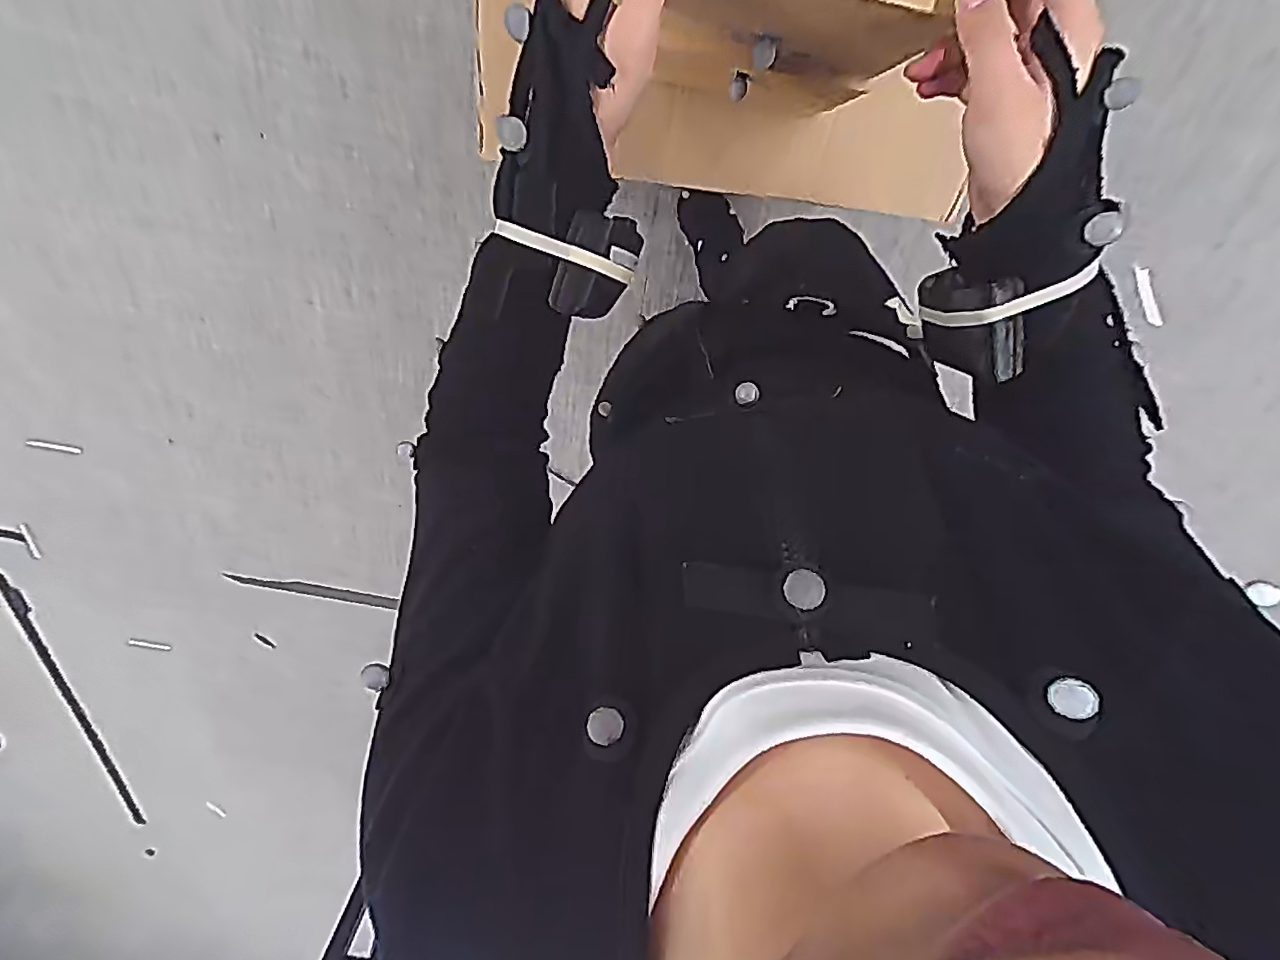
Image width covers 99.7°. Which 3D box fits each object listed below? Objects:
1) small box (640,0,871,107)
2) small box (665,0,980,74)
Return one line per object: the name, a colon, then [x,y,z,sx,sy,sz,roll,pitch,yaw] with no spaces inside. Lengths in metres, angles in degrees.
small box: [0.105,-0.417,0.433,0.179,0.176,0.168,12,120,-2]
small box: [0.102,-0.348,0.283,0.168,0.176,0.179,12,120,-2]
